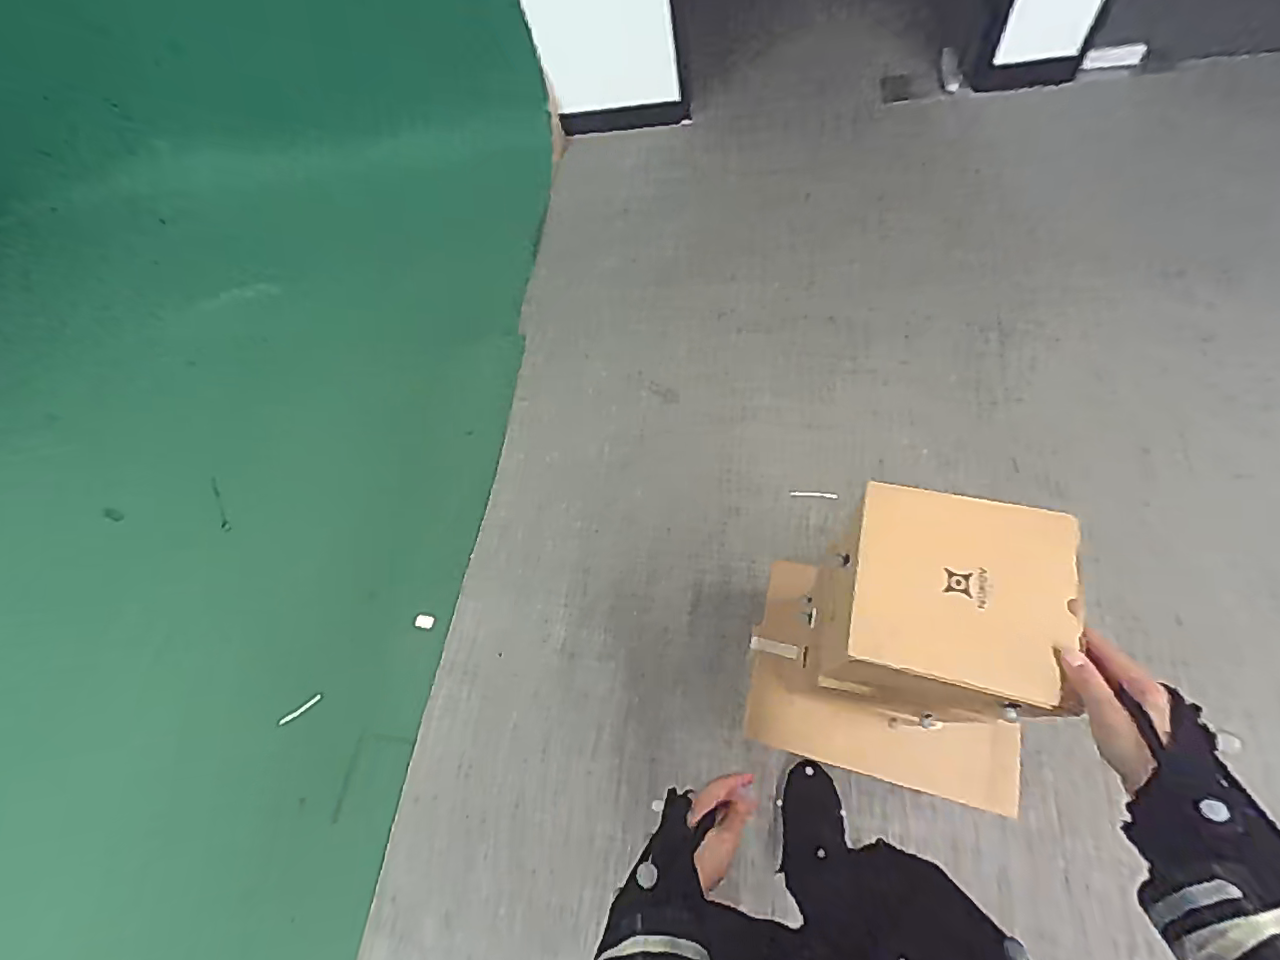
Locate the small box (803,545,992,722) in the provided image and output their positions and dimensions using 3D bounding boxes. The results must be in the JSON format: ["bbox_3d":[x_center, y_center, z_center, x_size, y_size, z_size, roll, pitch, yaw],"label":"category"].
[{"bbox_3d":[0.307,0.194,0.672,0.179,0.176,0.168,7,67,15],"label":"small box"}]

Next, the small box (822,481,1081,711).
[{"bbox_3d":[0.284,0.120,0.529,0.179,0.176,0.168,10,68,14],"label":"small box"}]

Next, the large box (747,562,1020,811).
[{"bbox_3d":[0.424,0.374,1.020,0.408,0.320,0.320,10,70,15],"label":"large box"}]
